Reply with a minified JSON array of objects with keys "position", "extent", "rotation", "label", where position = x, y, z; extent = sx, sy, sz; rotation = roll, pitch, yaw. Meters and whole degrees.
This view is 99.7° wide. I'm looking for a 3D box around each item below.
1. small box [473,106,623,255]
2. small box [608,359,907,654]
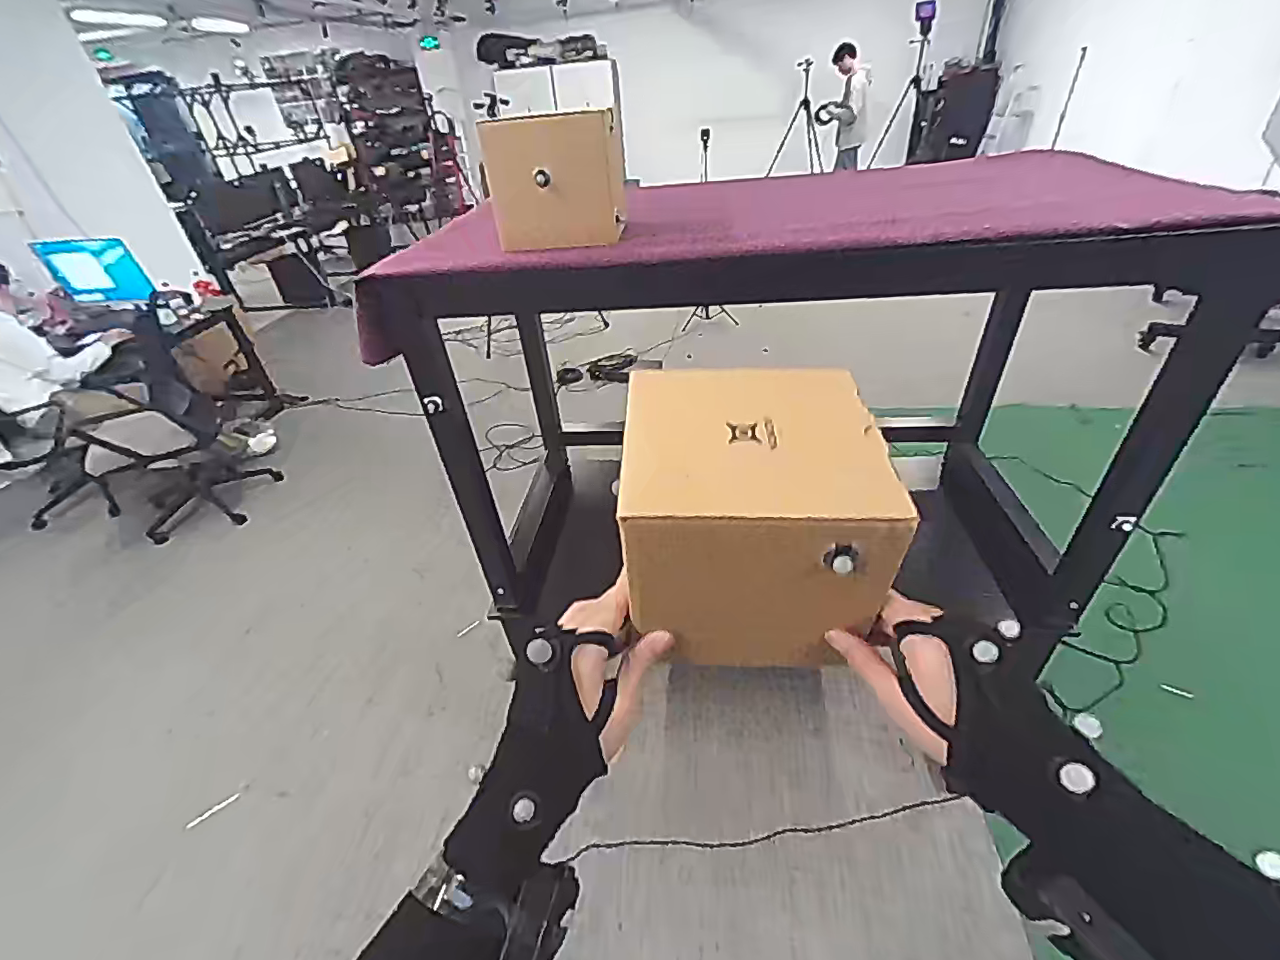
[{"position":[-0.124,-0.453,0.818],"extent":[0.179,0.176,0.168],"rotation":[-2,36,6],"label":"small box"},{"position":[0.073,0.021,0.423],"extent":[0.179,0.176,0.168],"rotation":[0,43,2],"label":"small box"}]
